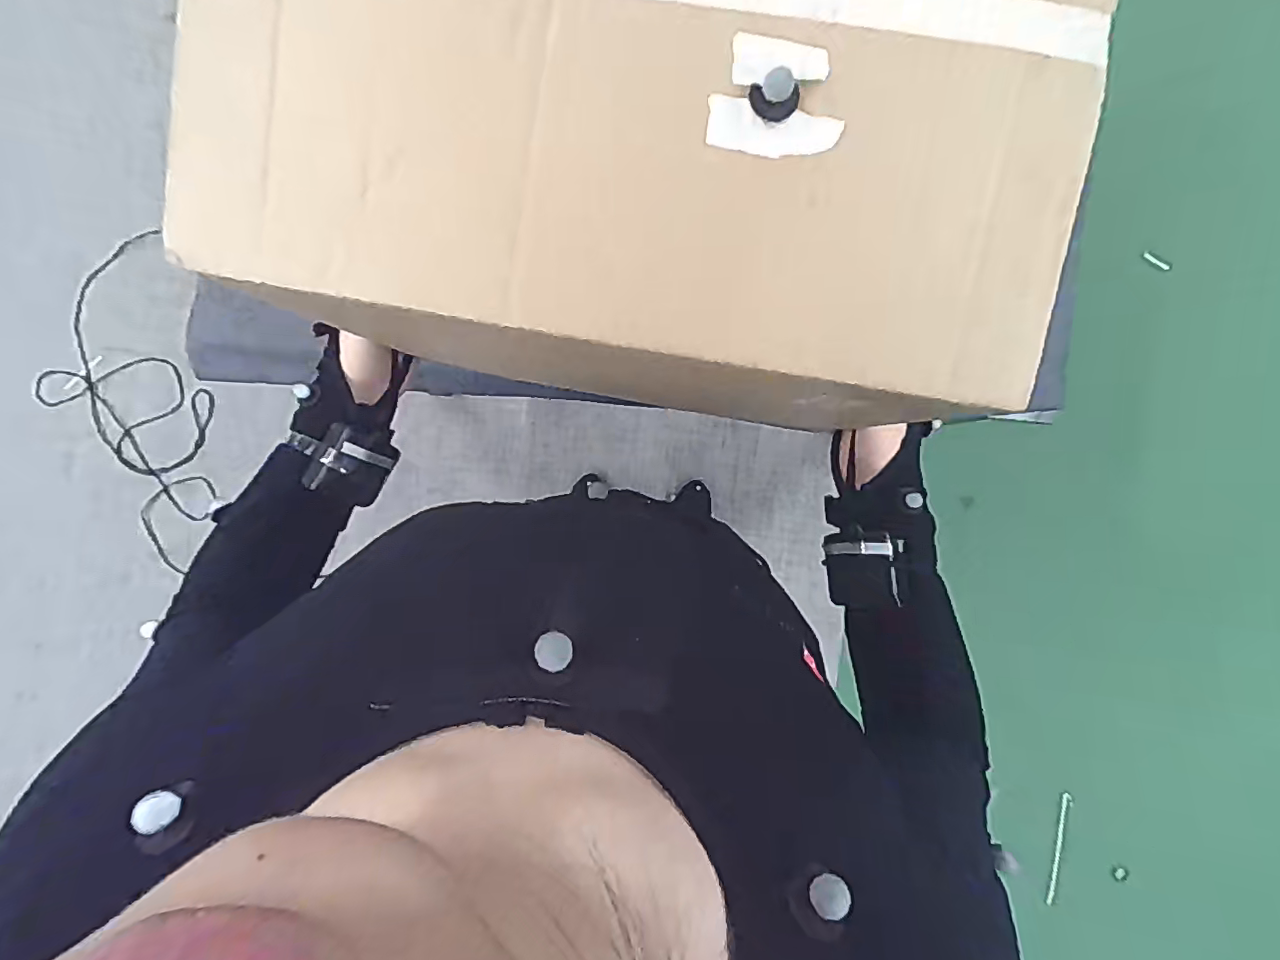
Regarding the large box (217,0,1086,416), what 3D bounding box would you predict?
[{"bbox_3d":[0.009,-0.236,0.406,0.408,0.320,0.320,10,95,1],"label":"large box"}]
